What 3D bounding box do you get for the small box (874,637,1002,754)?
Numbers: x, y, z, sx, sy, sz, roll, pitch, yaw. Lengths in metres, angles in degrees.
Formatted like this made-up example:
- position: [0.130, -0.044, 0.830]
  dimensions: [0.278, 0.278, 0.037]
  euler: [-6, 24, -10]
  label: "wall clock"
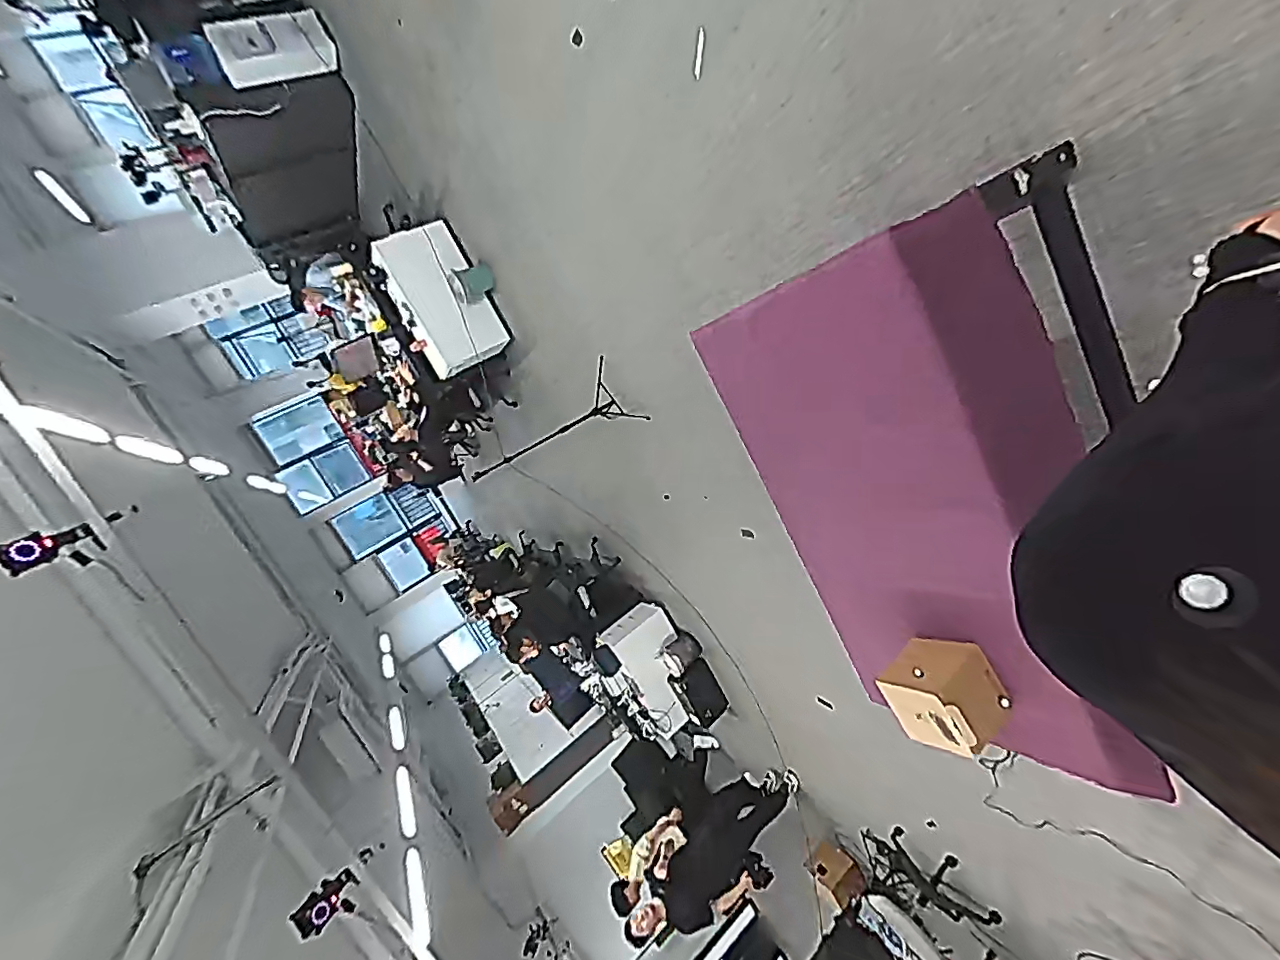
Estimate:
- position: [0.686, 0.480, 1.235]
  dimensions: [0.168, 0.176, 0.179]
  euler: [58, 156, -3]
  label: "small box"
